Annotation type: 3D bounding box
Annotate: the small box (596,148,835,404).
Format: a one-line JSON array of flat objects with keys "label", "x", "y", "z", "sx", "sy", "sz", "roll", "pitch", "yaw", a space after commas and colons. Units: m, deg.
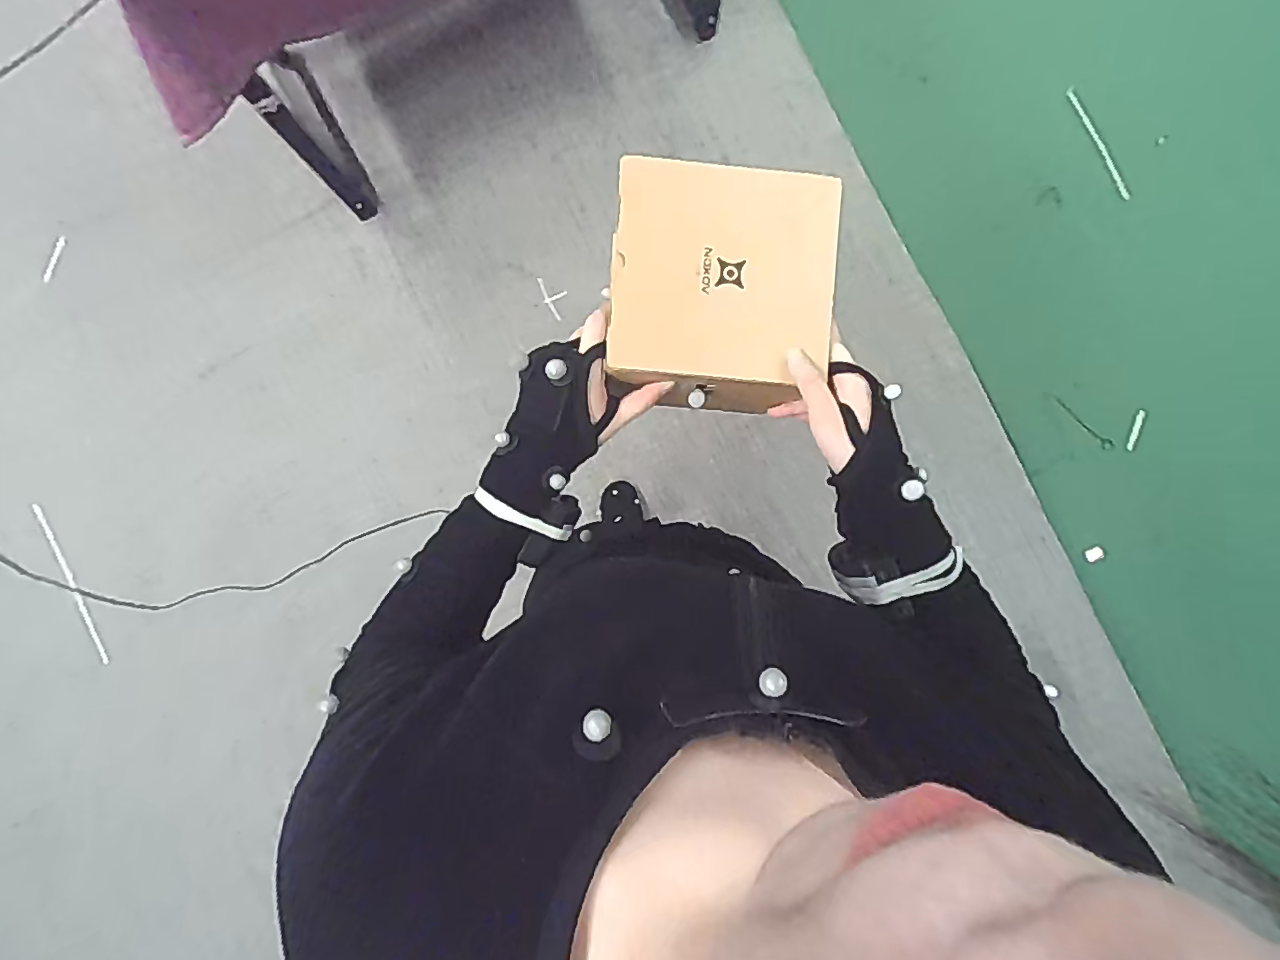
[{"label": "small box", "x": 0.056, "y": -0.165, "z": 0.492, "sx": 0.179, "sy": 0.176, "sz": 0.168, "roll": 4, "pitch": 90, "yaw": -1}]
